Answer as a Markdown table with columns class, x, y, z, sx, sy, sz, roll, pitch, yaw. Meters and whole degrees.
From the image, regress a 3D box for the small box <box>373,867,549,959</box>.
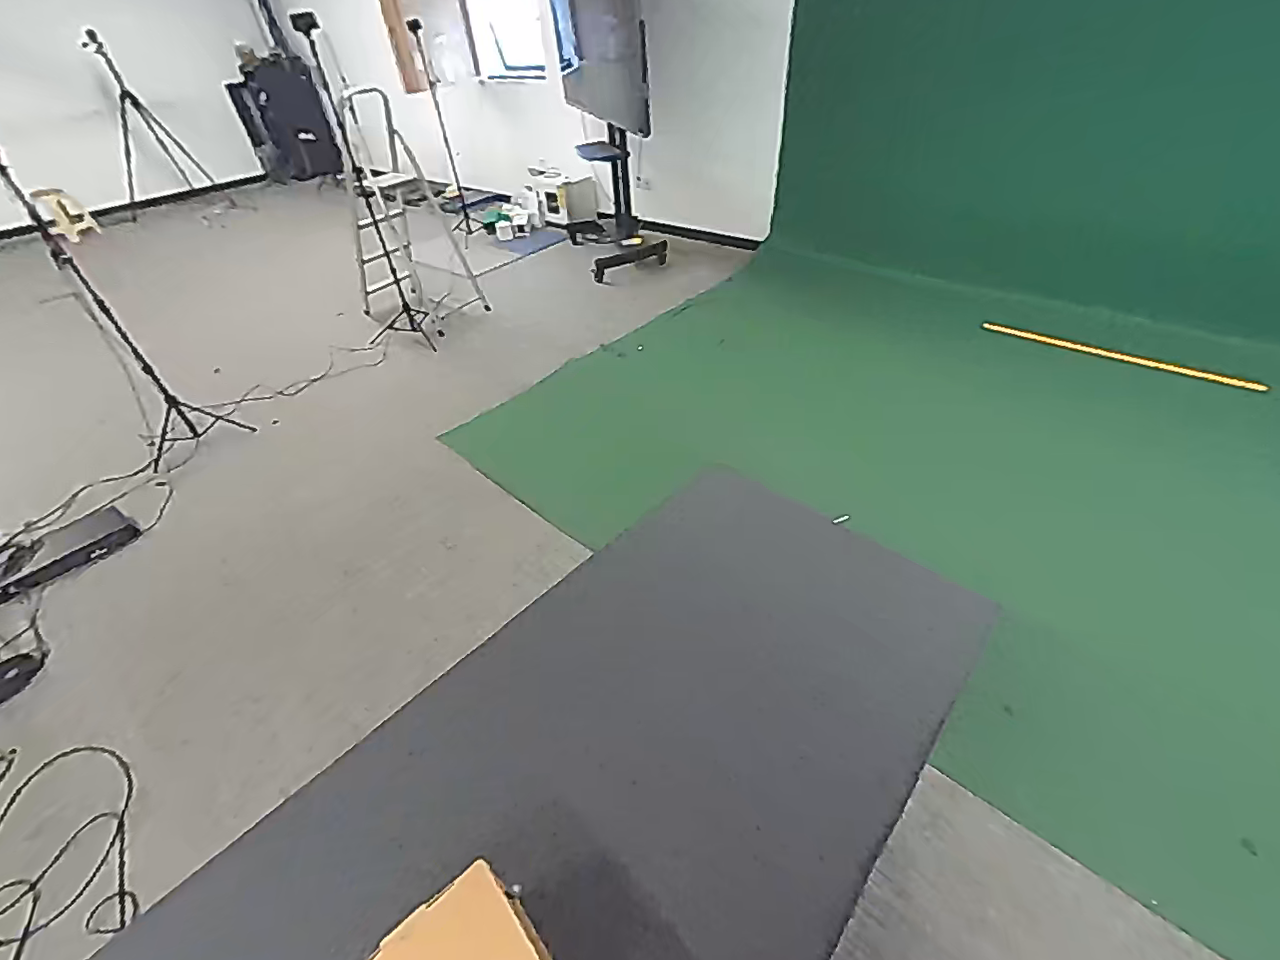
| class | x | y | z | sx | sy | sz | roll | pitch | yaw |
| --- | --- | --- | --- | --- | --- | --- | --- | --- | --- |
| small box | -0.159 | 0.525 | 0.510 | 0.168 | 0.176 | 0.179 | -33 | 46 | -29 |
